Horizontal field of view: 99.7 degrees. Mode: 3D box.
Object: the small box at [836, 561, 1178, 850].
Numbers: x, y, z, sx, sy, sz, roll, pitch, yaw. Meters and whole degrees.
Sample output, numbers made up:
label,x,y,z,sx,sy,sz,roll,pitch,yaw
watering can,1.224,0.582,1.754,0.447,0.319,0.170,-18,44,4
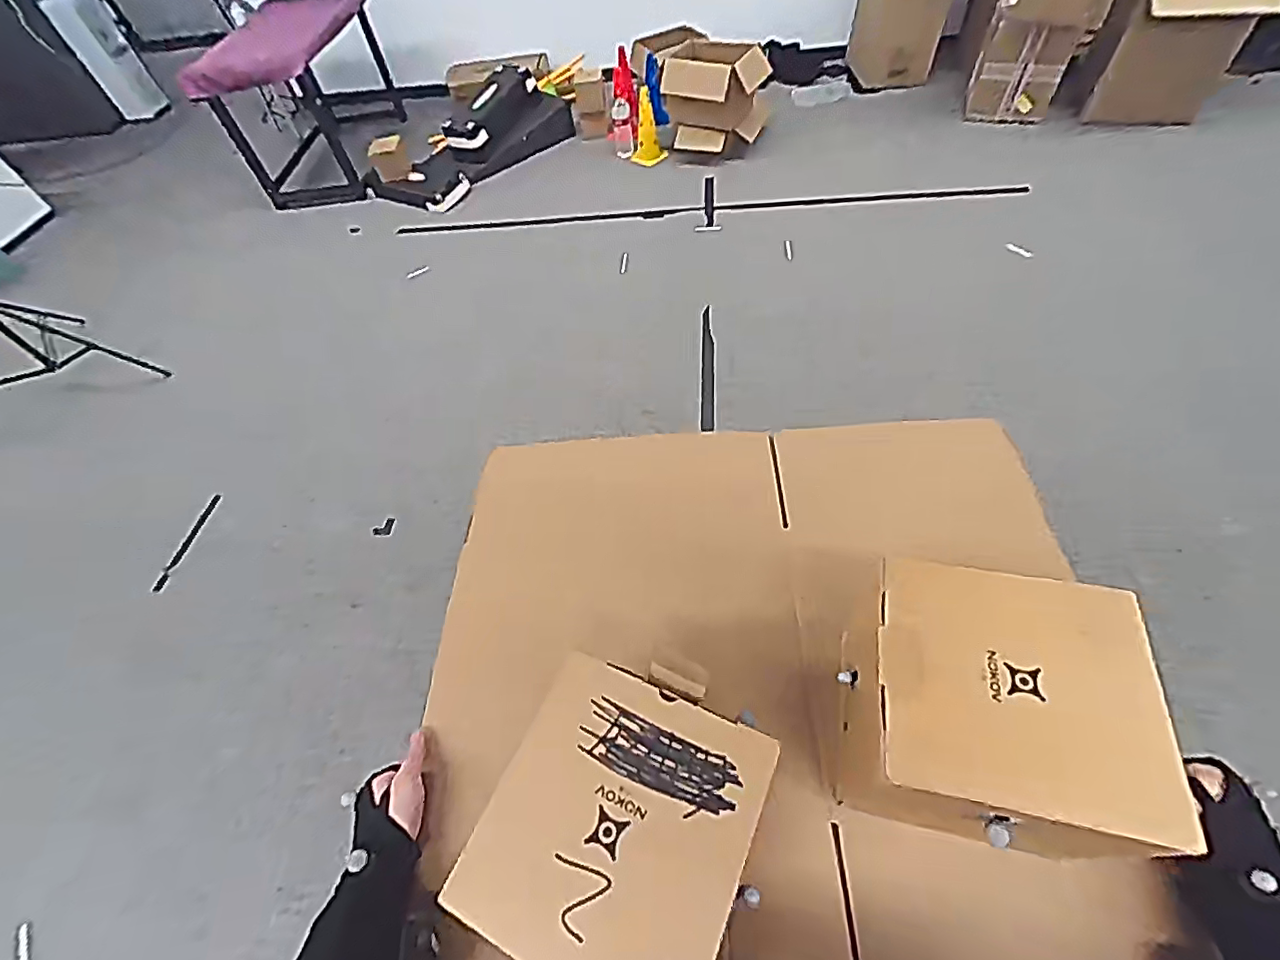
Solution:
label,x,y,z,sx,sy,sz,roll,pitch,yaw
small box,0.271,0.189,0.452,0.179,0.176,0.168,6,56,15
